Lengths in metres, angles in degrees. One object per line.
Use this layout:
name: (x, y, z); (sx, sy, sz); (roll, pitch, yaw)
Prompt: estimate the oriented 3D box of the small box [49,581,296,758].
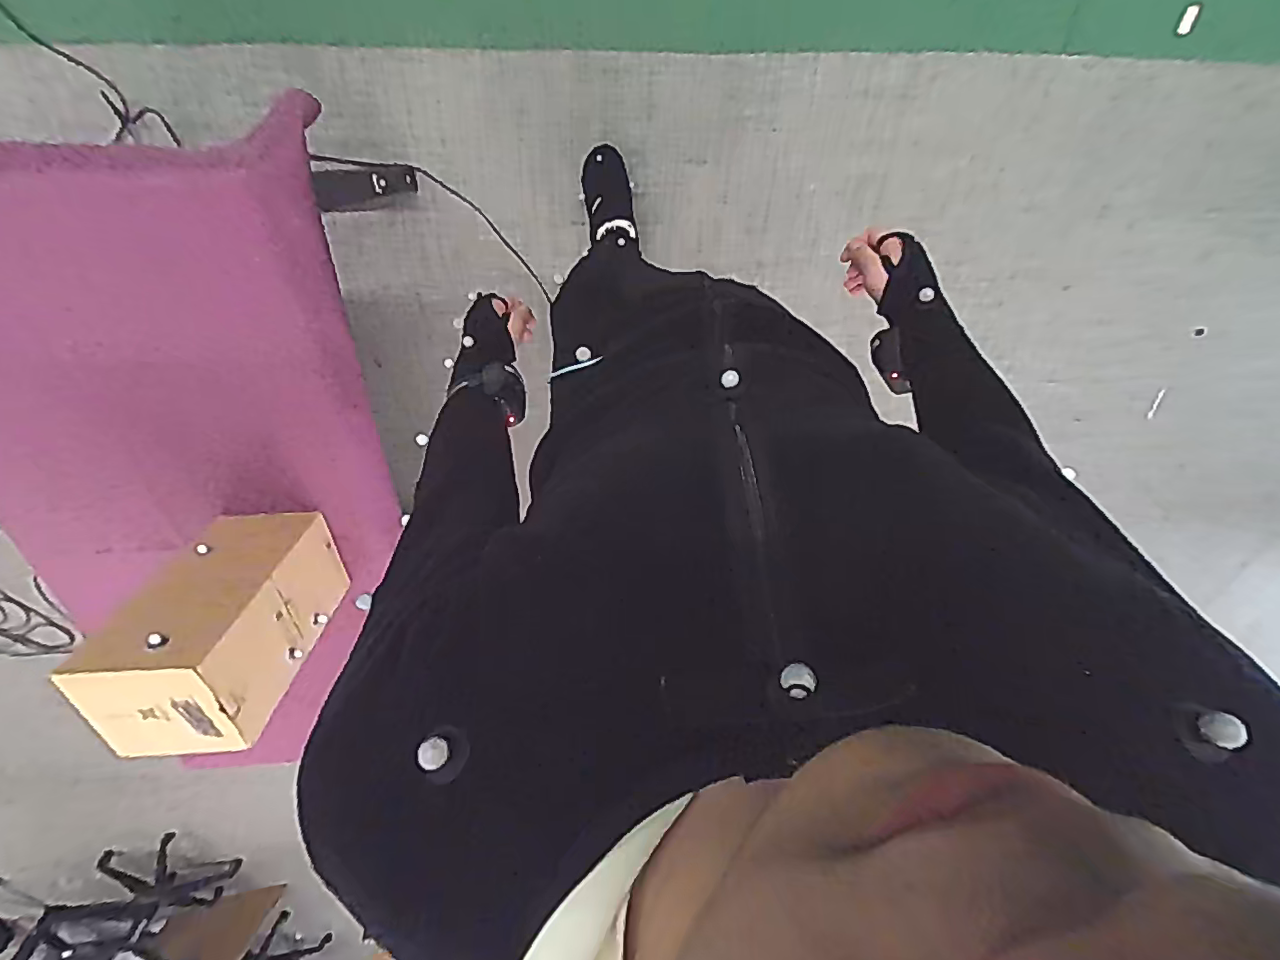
small box: (-0.613, 0.254, 0.746); (0.179, 0.176, 0.168); (-2, 121, -1)
